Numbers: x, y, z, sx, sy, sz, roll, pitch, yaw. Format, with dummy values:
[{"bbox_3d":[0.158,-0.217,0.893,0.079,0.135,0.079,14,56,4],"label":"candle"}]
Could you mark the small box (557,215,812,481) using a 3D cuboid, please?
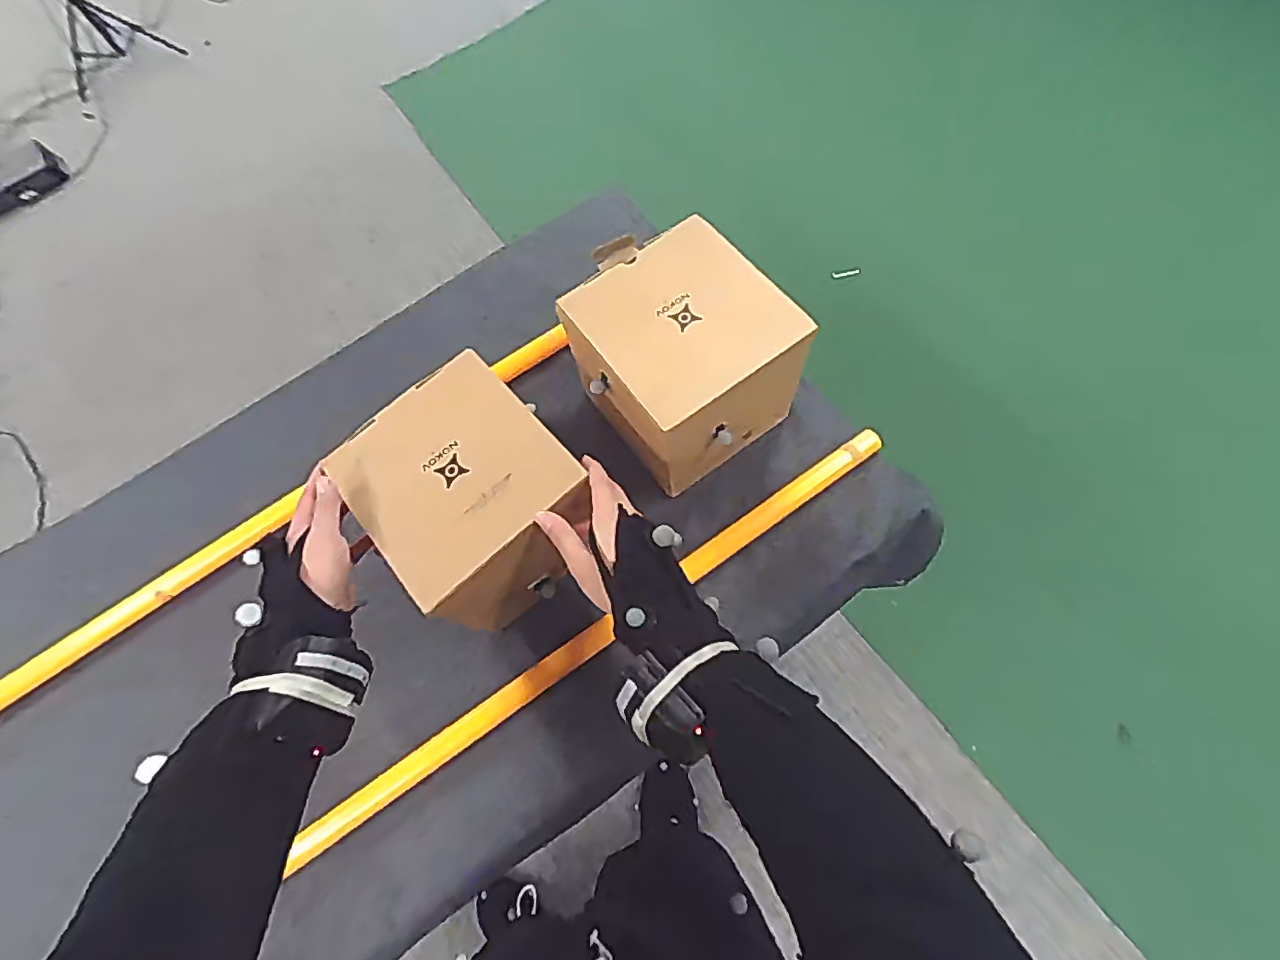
[{"bbox_3d":[0.045,-0.119,0.556,0.168,0.176,0.179,-35,69,-8],"label":"small box"}]
